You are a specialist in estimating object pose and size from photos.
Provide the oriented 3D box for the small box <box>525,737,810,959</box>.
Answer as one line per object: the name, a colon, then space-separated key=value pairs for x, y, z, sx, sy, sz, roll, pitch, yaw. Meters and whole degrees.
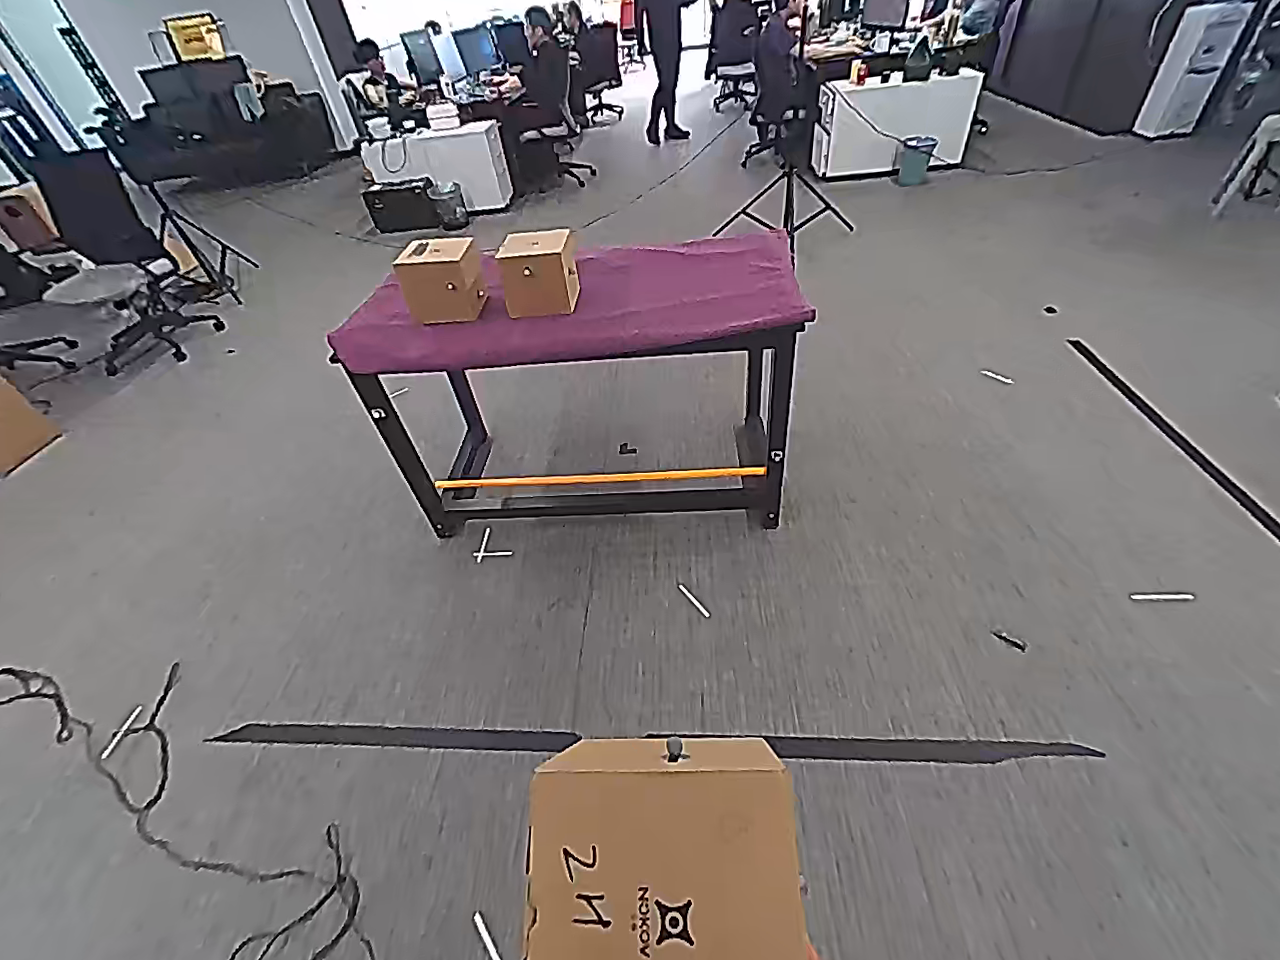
small box: x=0.023 y=0.294 z=0.409 sx=0.179 sy=0.176 sz=0.168 roll=-4 pitch=70 yaw=6

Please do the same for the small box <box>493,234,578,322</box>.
small box: x=-0.273 y=-0.544 z=1.463 sx=0.179 sy=0.176 sz=0.168 roll=-3 pitch=43 yaw=6
